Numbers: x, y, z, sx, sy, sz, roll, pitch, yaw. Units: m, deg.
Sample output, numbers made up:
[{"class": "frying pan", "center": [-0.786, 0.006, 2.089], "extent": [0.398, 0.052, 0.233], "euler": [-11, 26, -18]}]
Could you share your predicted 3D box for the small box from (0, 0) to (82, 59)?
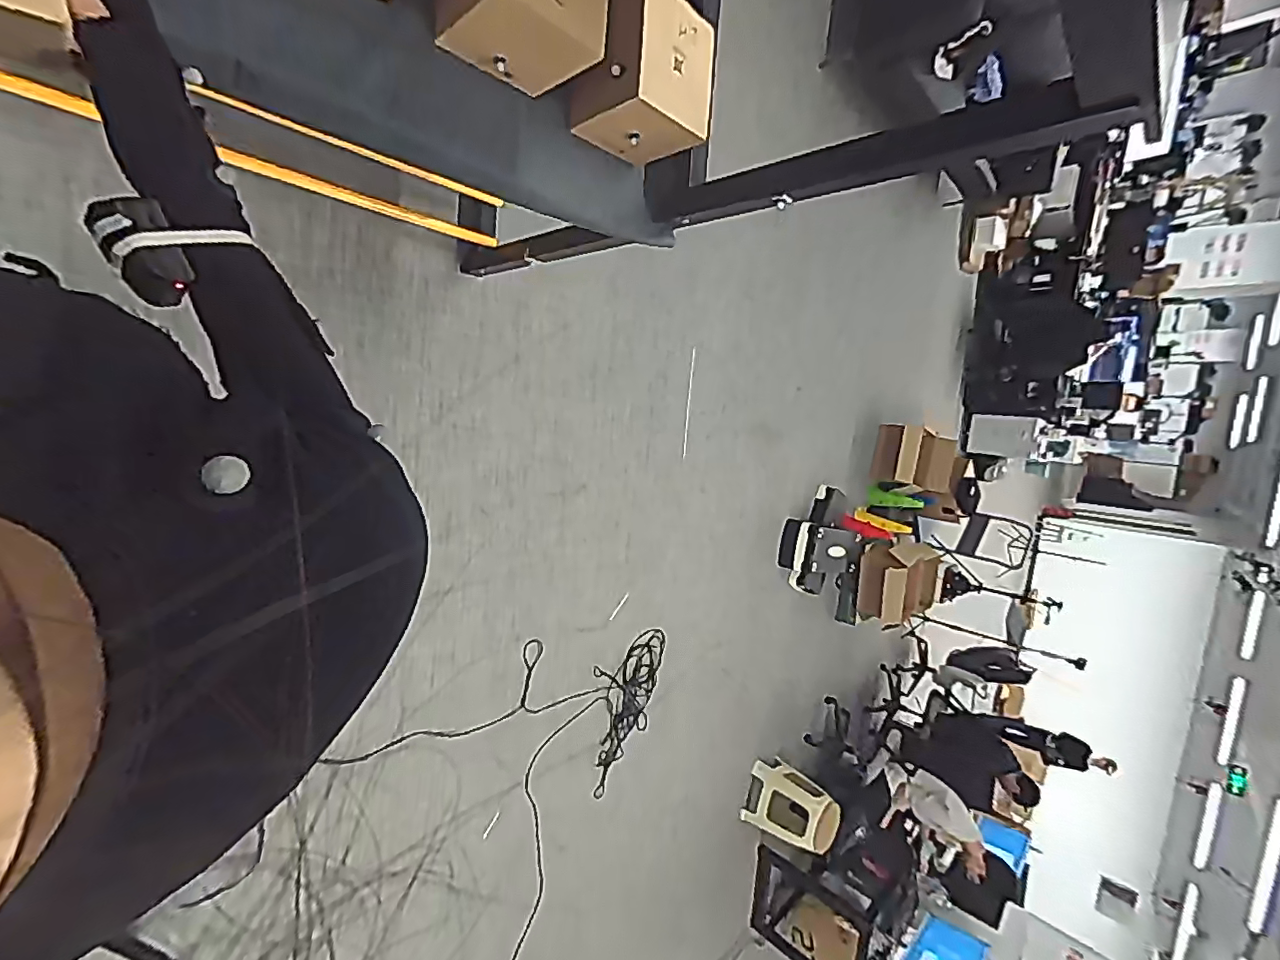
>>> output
[{"class": "small box", "center": [-0.394, -0.334, 0.249], "extent": [0.168, 0.176, 0.179], "euler": [-12, 120, -43]}]

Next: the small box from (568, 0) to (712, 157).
[{"class": "small box", "center": [-0.003, -0.666, 0.891], "extent": [0.168, 0.176, 0.179], "euler": [-5, 102, -47]}]
